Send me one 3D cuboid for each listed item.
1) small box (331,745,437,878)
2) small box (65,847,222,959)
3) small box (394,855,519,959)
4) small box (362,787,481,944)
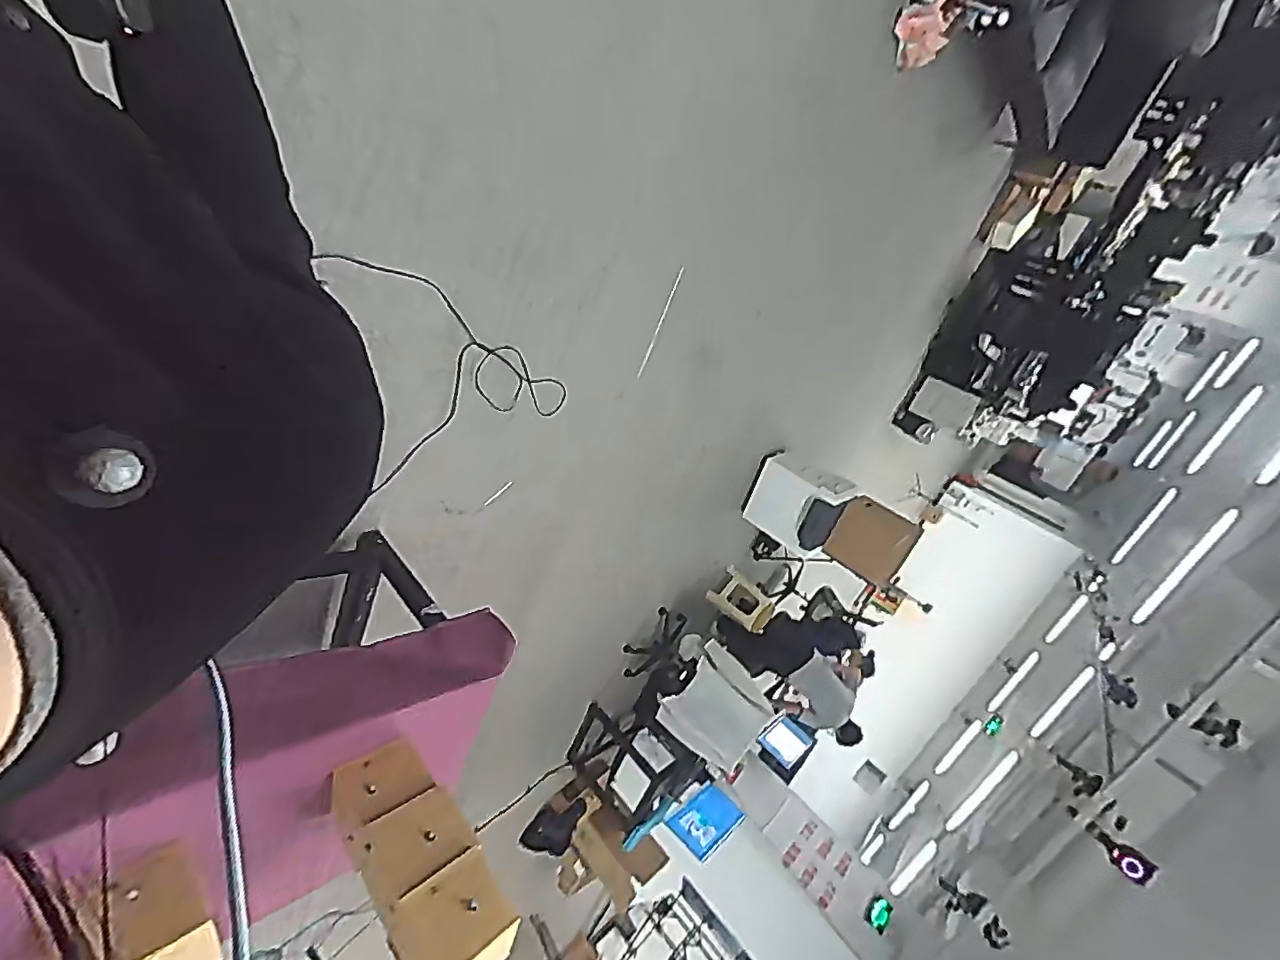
[{"bbox_3d":[-0.591,0.745,1.243,0.168,0.176,0.179,-10,129,-47],"label":"small box"},{"bbox_3d":[-0.857,0.794,0.941,0.168,0.176,0.179,-17,134,-44],"label":"small box"},{"bbox_3d":[-0.361,0.881,1.051,0.168,0.176,0.179,-14,132,-44],"label":"small box"},{"bbox_3d":[-0.469,0.807,1.148,0.179,0.176,0.168,-11,129,-47],"label":"small box"}]
